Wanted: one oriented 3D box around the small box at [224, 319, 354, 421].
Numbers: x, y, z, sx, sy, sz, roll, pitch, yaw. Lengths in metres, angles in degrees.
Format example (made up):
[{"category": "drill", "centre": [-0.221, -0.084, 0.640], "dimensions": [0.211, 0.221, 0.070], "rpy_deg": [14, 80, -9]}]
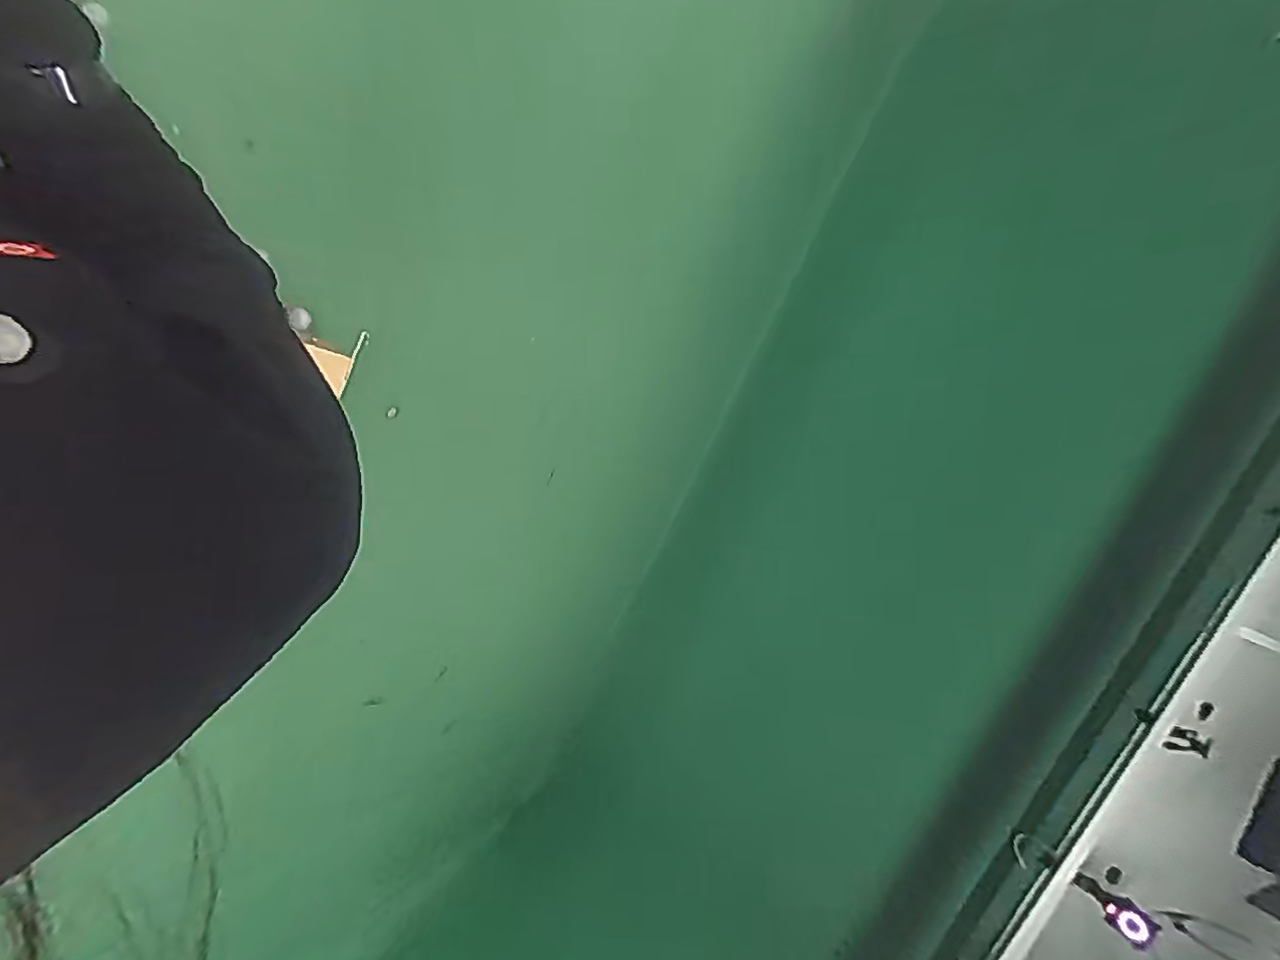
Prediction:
[{"category": "small box", "centre": [-0.830, -0.261, 1.280], "dimensions": [0.179, 0.176, 0.168], "rpy_deg": [17, 99, -62]}]
